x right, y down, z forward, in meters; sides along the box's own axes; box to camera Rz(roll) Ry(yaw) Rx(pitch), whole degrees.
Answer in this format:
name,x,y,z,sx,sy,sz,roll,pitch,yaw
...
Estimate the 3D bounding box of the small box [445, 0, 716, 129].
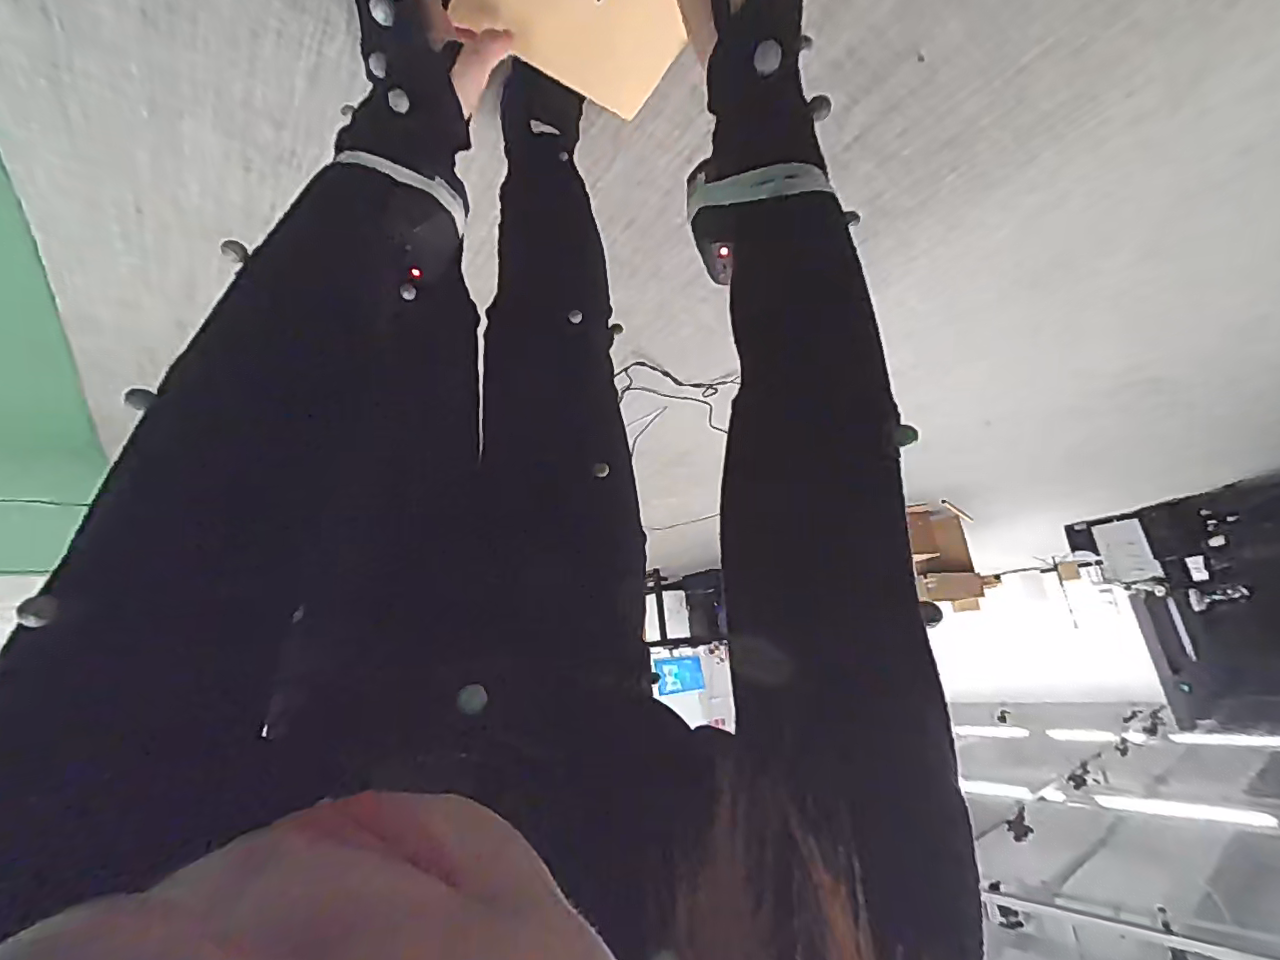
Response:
name,x,y,z,sx,sy,sz,roll,pitch,yaw
small box,-0.038,-0.433,0.412,0.168,0.176,0.179,8,157,-34
